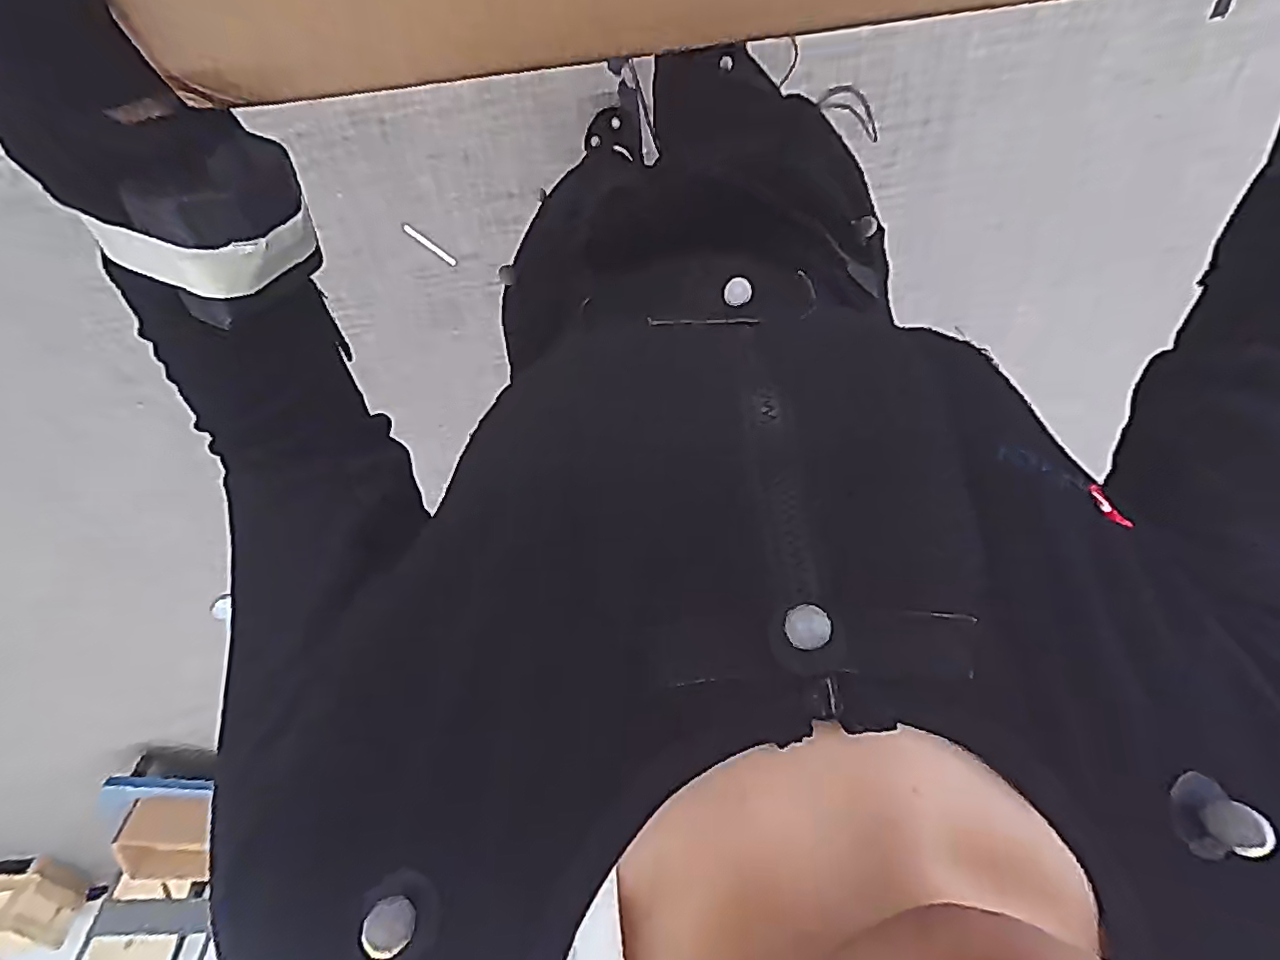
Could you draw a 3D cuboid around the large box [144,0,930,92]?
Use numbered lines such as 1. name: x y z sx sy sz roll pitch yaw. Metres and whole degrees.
1. large box: 0.017 -0.364 0.125 0.408 0.320 0.320 -5 151 3
